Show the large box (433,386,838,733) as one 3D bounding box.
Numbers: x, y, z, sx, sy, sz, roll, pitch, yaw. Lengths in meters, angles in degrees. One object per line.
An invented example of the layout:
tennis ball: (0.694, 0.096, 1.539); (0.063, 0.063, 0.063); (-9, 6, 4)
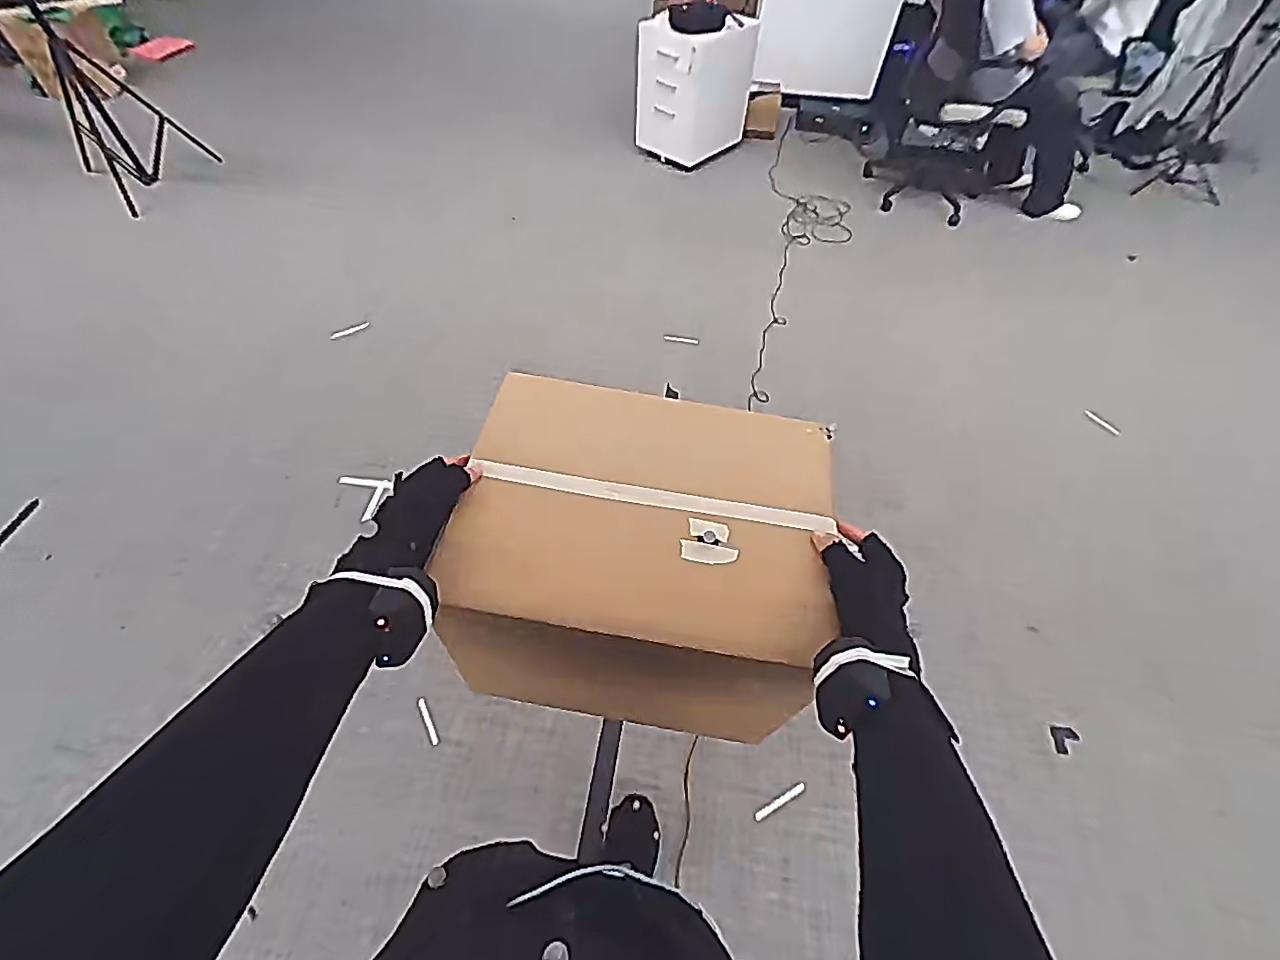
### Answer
large box: (-0.002, 0.115, 0.722); (0.408, 0.320, 0.320); (9, 53, 0)
